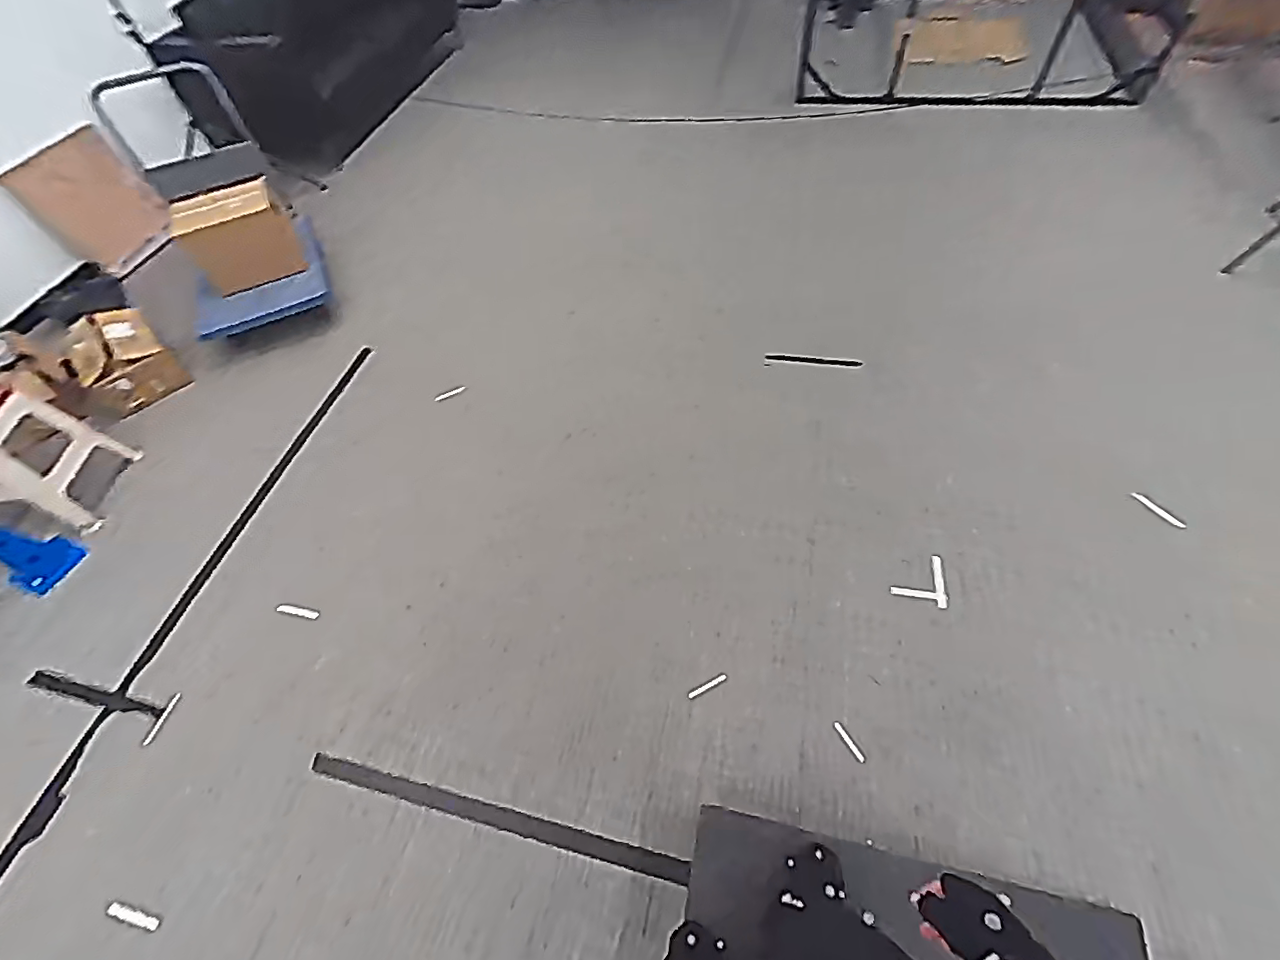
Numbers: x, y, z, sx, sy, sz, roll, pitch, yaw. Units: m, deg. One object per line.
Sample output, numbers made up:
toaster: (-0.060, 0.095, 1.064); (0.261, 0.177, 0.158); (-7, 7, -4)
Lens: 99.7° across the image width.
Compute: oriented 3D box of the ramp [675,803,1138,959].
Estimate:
ramp: (0.561, 1.050, 1.102); (0.991, 0.206, 0.509); (6, 55, 9)
